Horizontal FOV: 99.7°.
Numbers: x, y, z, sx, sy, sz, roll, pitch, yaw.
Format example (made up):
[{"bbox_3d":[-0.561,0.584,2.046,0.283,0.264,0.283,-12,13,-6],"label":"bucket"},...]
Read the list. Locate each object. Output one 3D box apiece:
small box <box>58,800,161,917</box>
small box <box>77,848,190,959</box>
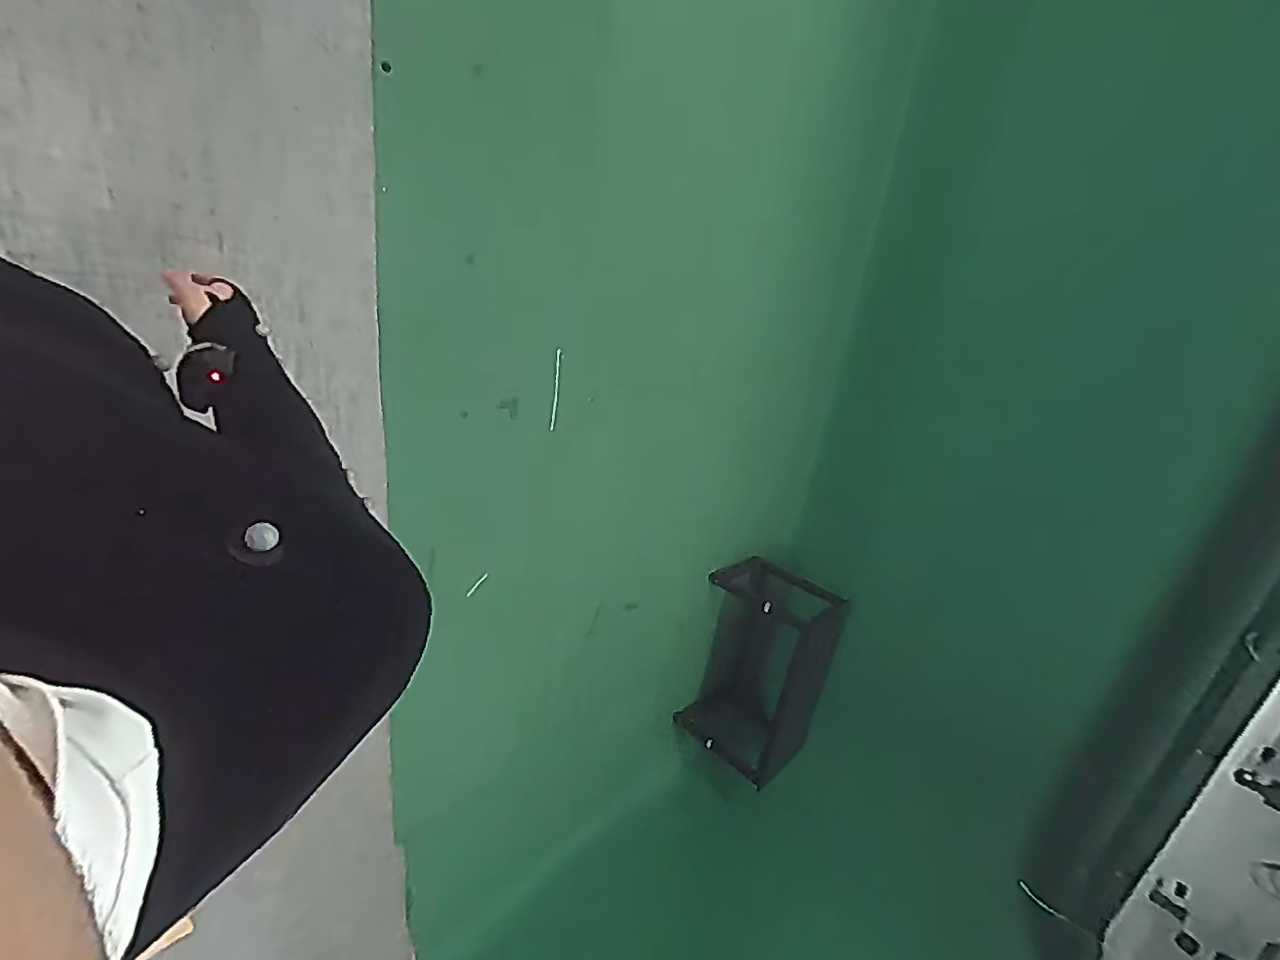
[{"bbox_3d":[-1.381,0.995,1.419,0.168,0.176,0.179,-20,125,-42],"label":"small box"},{"bbox_3d":[-1.252,1.062,1.337,0.168,0.176,0.179,-19,124,-42],"label":"small box"}]
